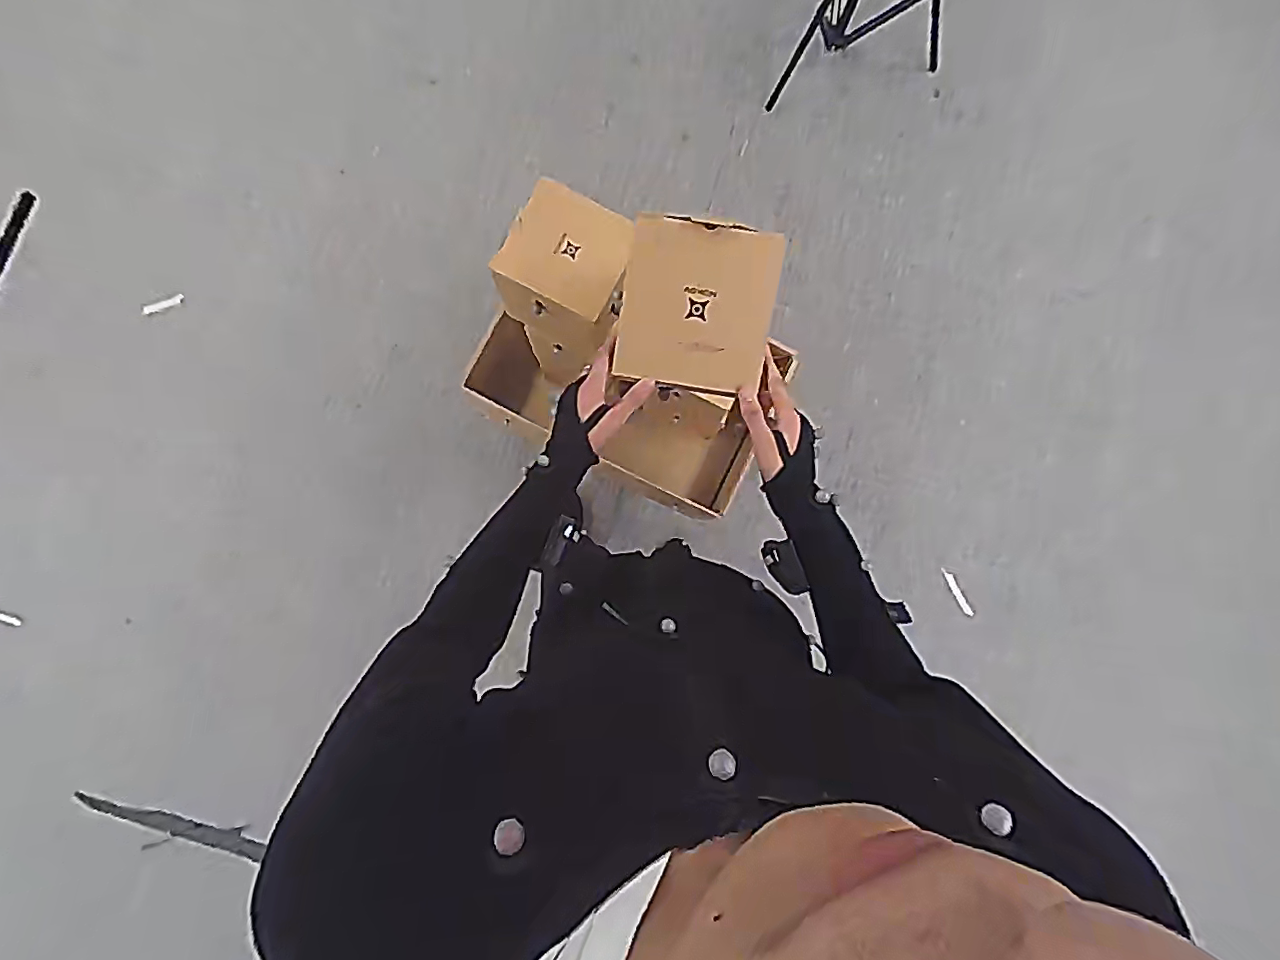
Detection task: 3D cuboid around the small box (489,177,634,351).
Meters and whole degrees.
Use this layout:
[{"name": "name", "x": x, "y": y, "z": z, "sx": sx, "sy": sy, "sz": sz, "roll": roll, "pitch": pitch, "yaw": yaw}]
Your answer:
[{"name": "small box", "x": -0.108, "y": -0.327, "z": 0.861, "sx": 0.179, "sy": 0.176, "sz": 0.168, "roll": 27, "pitch": 83, "yaw": -1}]

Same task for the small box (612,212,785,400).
[{"name": "small box", "x": 0.061, "y": -0.196, "z": 0.658, "sx": 0.168, "sy": 0.176, "sz": 0.179, "roll": 8, "pitch": 98, "yaw": -1}]
